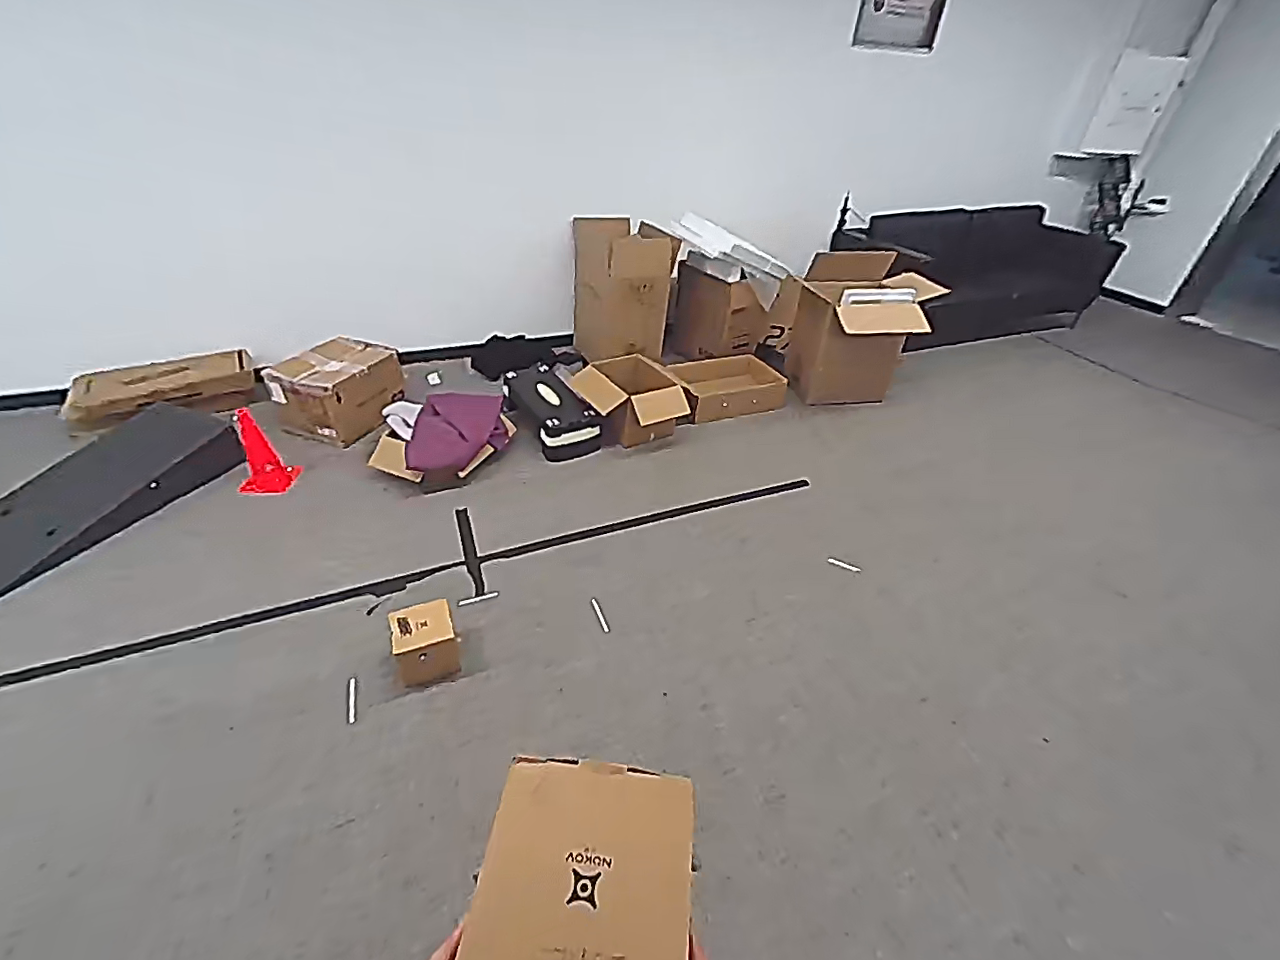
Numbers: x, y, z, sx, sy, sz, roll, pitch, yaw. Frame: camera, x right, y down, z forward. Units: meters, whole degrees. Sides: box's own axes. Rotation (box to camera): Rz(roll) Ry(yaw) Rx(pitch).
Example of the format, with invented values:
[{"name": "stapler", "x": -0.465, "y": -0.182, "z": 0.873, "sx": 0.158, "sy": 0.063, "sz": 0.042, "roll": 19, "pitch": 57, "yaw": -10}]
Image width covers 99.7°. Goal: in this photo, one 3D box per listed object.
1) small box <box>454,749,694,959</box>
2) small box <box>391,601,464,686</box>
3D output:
[{"name": "small box", "x": -0.047, "y": 0.369, "z": 0.471, "sx": 0.168, "sy": 0.176, "sz": 0.179, "roll": 6, "pitch": 40, "yaw": 3}, {"name": "small box", "x": -0.666, "y": 0.516, "z": 1.698, "sx": 0.179, "sy": 0.176, "sz": 0.168, "roll": -13, "pitch": 39, "yaw": -21}]
